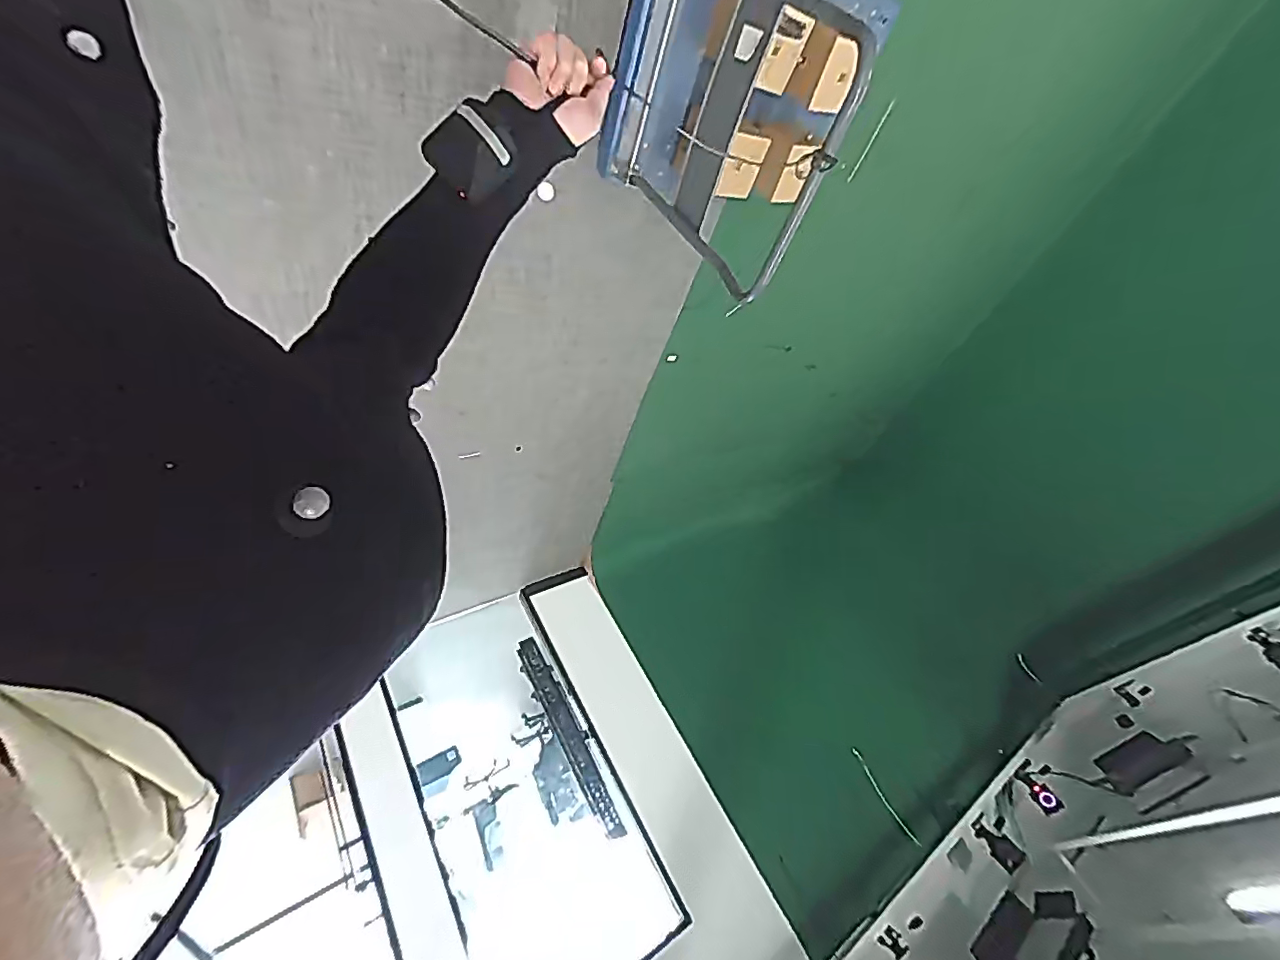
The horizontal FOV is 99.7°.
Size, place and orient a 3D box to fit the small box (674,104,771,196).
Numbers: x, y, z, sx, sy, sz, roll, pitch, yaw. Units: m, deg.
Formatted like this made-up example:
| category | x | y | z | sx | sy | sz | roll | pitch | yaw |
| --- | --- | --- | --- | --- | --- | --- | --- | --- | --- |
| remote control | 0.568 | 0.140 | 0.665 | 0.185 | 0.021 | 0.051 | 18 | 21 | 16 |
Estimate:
| category | x | y | z | sx | sy | sz | roll | pitch | yaw |
| --- | --- | --- | --- | --- | --- | --- | --- | --- | --- |
| small box | 0.230 | -0.941 | 1.542 | 0.179 | 0.176 | 0.168 | -13 | 146 | -33 |

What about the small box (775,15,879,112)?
| category | x | y | z | sx | sy | sz | roll | pitch | yaw |
| --- | --- | --- | --- | --- | --- | --- | --- | --- | --- |
| small box | 0.510 | -1.155 | 1.500 | 0.179 | 0.176 | 0.168 | -17 | 149 | -29 |

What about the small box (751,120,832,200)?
| category | x | y | z | sx | sy | sz | roll | pitch | yaw |
| --- | --- | --- | --- | --- | --- | --- | --- | --- | --- |
| small box | 0.451 | -0.997 | 1.686 | 0.179 | 0.176 | 0.168 | -16 | 147 | -29 |
